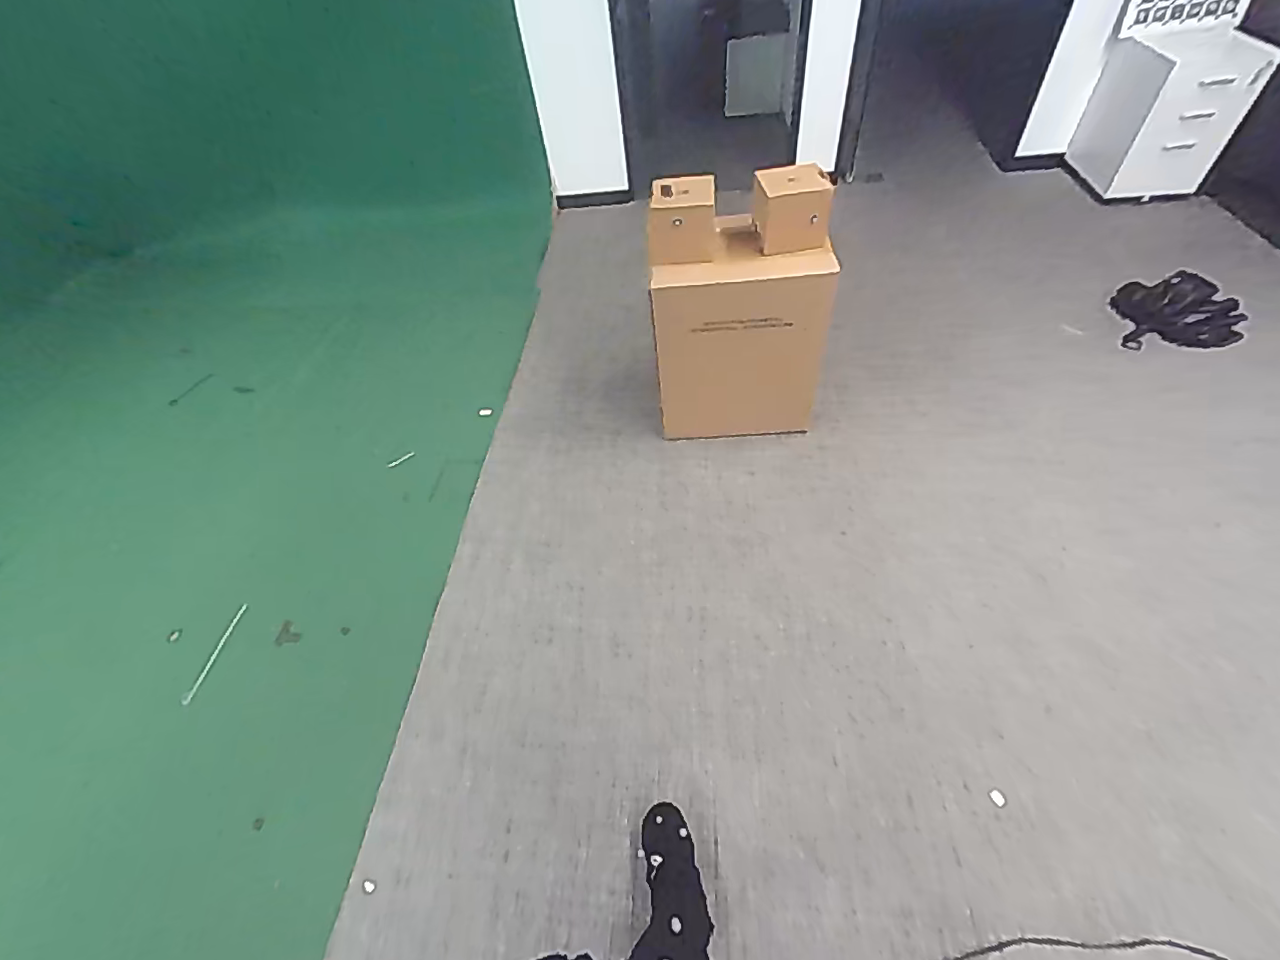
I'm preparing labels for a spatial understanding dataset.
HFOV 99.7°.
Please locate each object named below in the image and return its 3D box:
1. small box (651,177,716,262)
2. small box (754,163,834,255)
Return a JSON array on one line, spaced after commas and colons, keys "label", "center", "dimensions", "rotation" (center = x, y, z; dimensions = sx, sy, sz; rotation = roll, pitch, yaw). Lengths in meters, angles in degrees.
[{"label": "small box", "center": [0.131, -0.749, 1.564], "dimensions": [0.179, 0.176, 0.168], "rotation": [0, 53, 8]}, {"label": "small box", "center": [0.429, -0.768, 1.539], "dimensions": [0.179, 0.176, 0.168], "rotation": [-9, 51, 2]}]
